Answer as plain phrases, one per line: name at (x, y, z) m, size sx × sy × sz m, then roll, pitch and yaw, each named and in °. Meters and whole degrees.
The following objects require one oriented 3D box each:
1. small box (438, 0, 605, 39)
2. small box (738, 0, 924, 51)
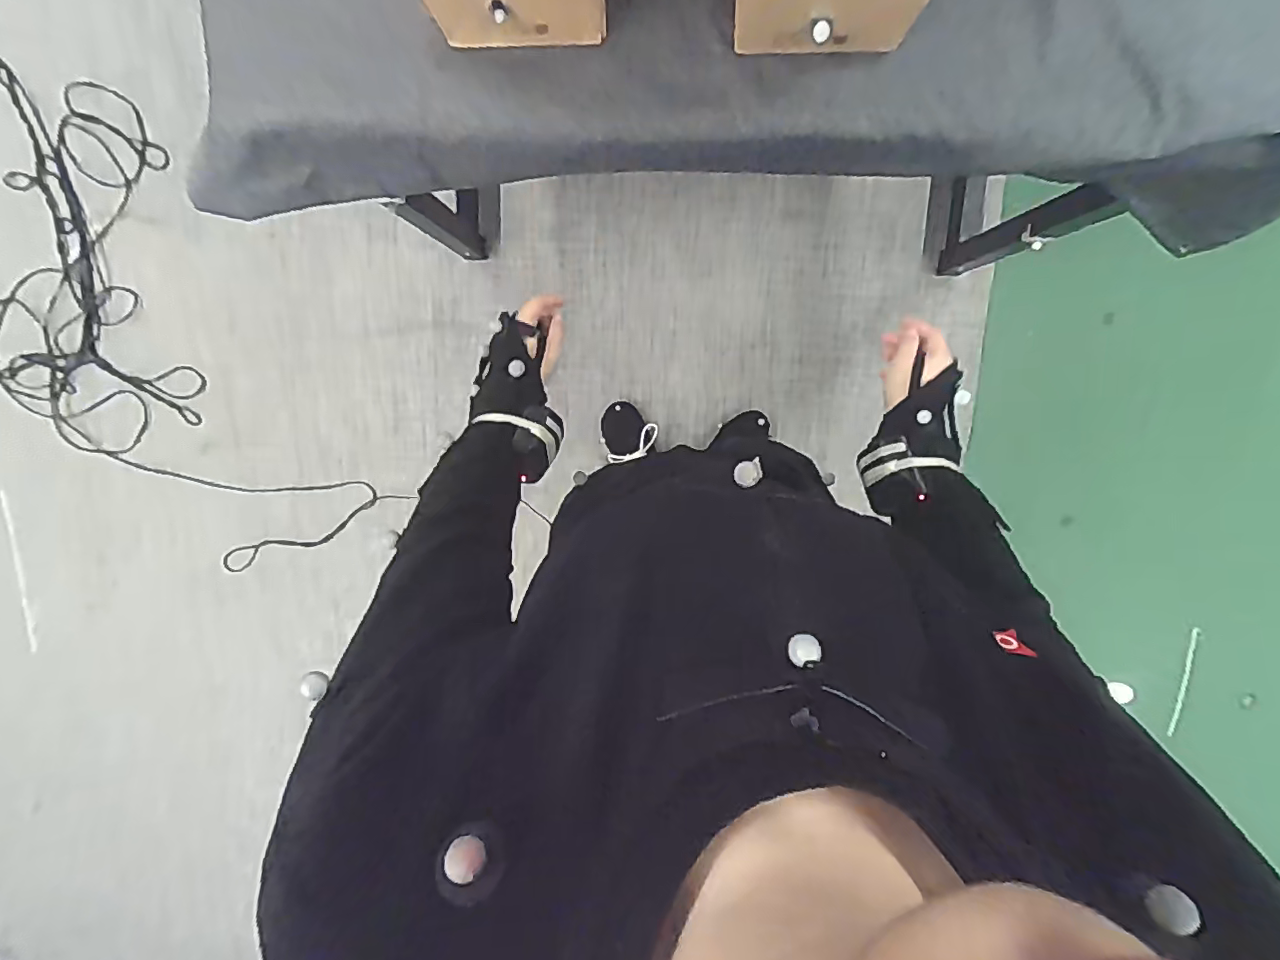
small box at (-0.120, -0.534, 0.471) m, size 0.168 × 0.176 × 0.179 m, roll -1°, pitch 100°, yaw 2°
small box at (0.179, -0.517, 0.462) m, size 0.168 × 0.176 × 0.179 m, roll 1°, pitch 100°, yaw 2°
